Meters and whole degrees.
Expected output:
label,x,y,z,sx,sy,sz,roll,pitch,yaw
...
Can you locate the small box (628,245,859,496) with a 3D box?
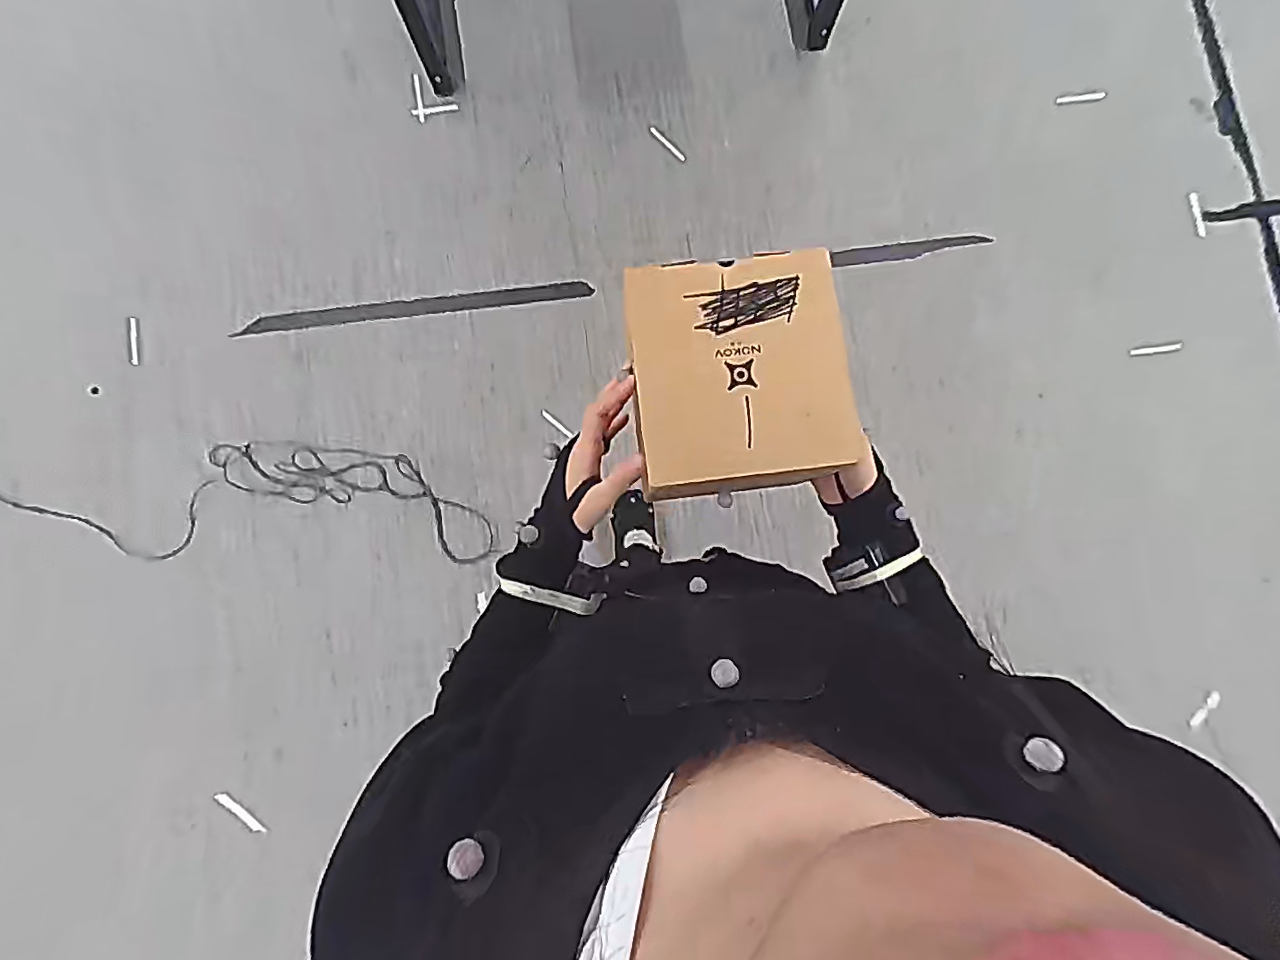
label,x,y,z,sx,sy,sz,roll,pitch,yaw
small box,0.077,-0.086,0.502,0.168,0.176,0.179,-7,84,-1
